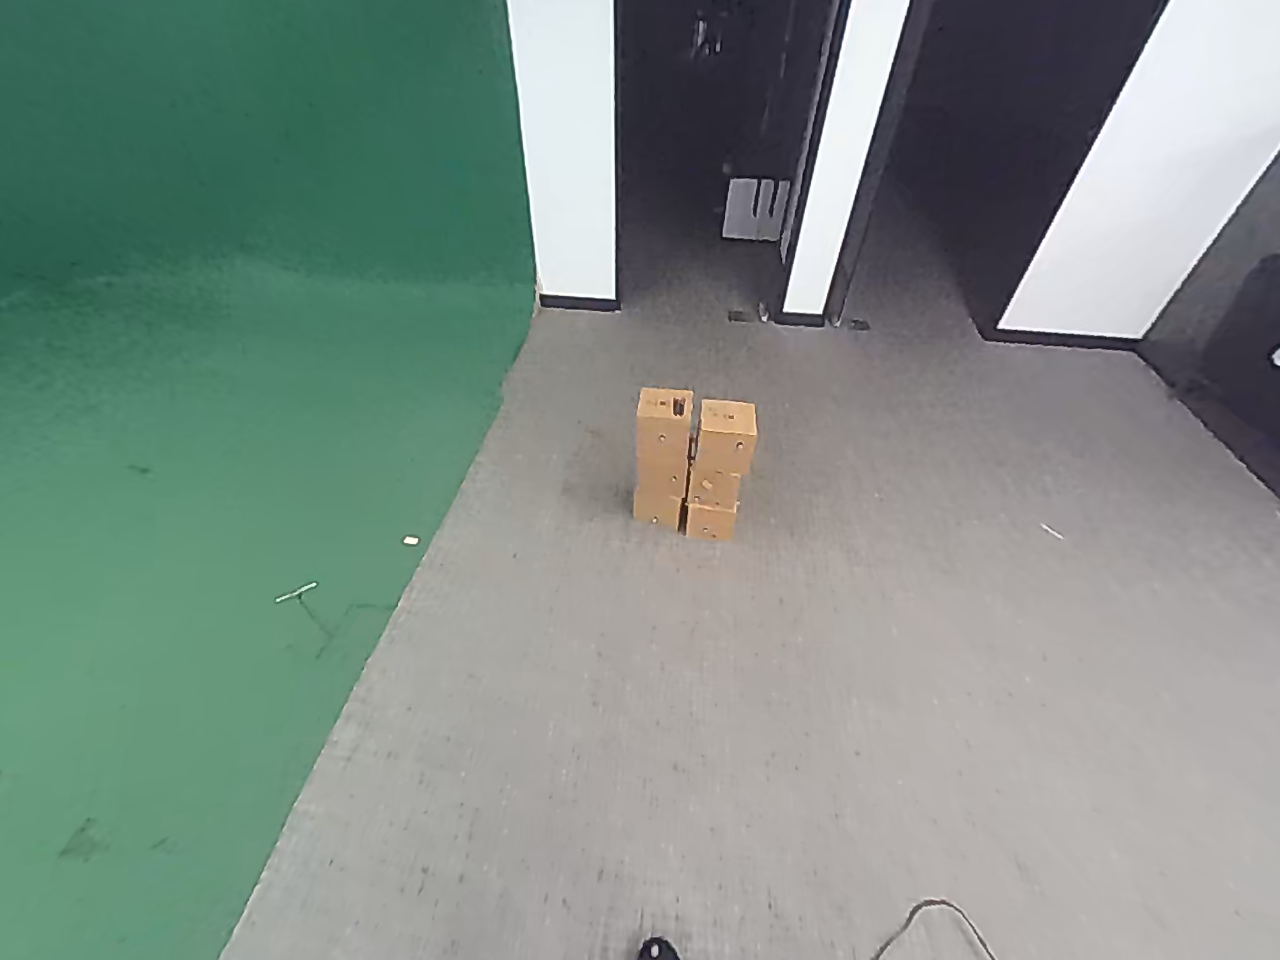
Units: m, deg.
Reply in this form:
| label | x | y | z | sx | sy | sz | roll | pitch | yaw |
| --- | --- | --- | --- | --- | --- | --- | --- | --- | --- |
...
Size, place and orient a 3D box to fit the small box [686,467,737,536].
| label | x | y | z | sx | sy | sz | roll | pitch | yaw |
| --- | --- | --- | --- | --- | --- | --- | --- | --- | --- |
| small box | 0.261 | 0.080 | 1.983 | 0.168 | 0.176 | 0.179 | 6 | 46 | 4 |
